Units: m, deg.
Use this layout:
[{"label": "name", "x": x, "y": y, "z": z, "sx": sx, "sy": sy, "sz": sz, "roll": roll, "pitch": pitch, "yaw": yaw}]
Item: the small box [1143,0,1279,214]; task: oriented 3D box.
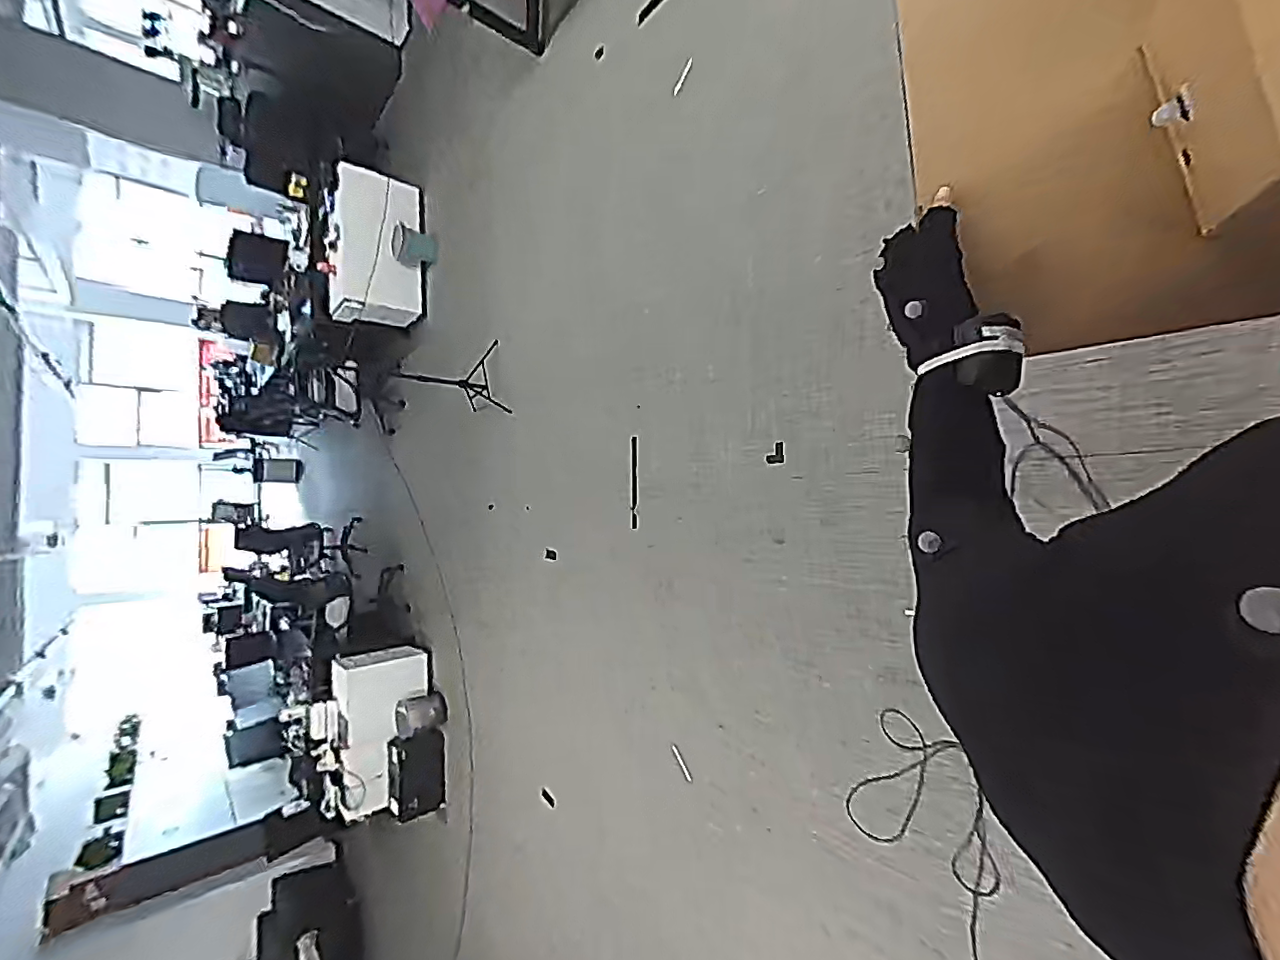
[{"label": "small box", "x": 0.442, "y": -0.290, "z": 0.315, "sx": 0.179, "sy": 0.176, "sz": 0.168, "roll": -17, "pitch": 88, "yaw": 37}]
